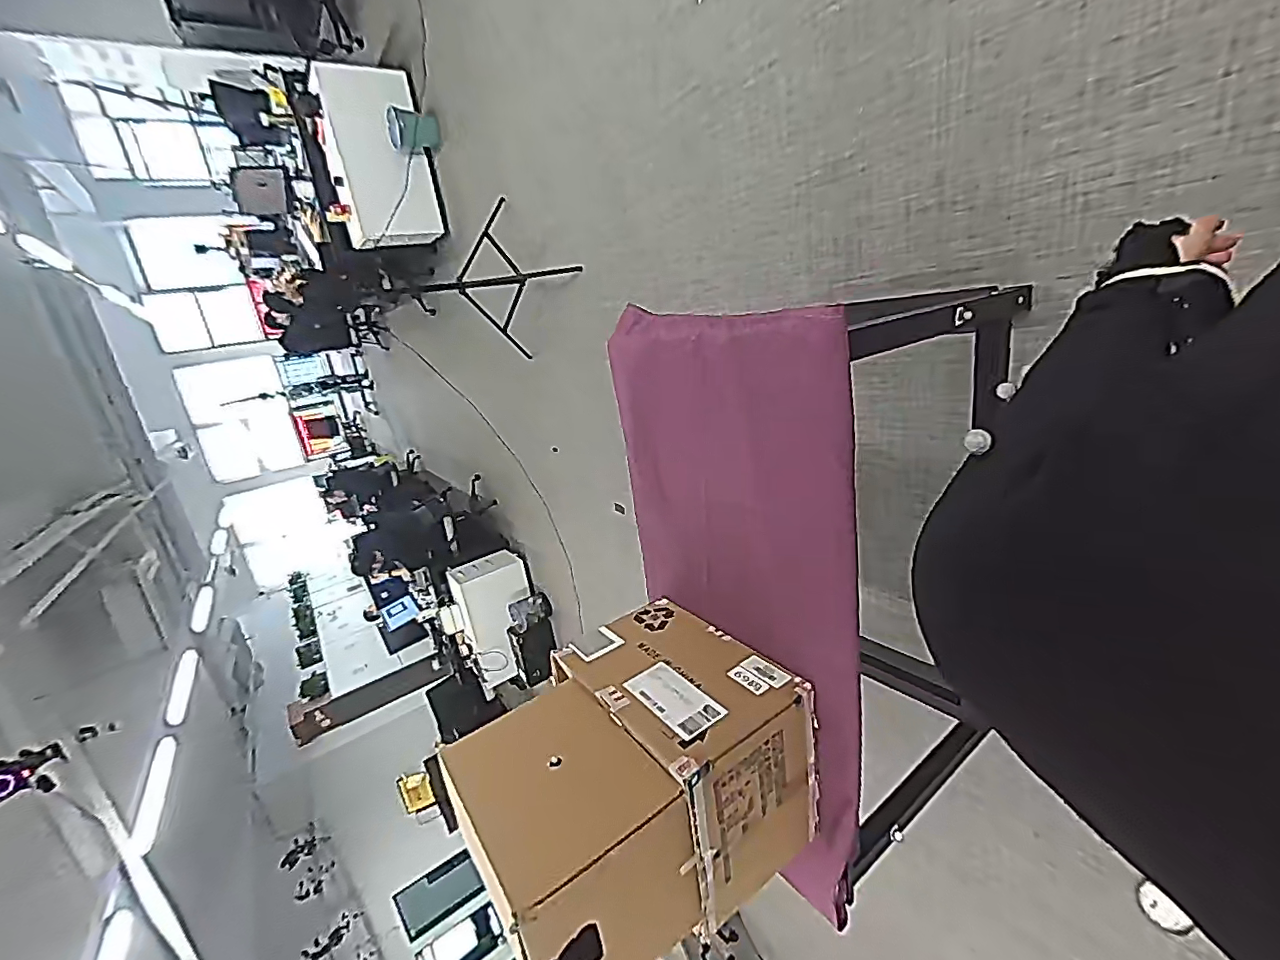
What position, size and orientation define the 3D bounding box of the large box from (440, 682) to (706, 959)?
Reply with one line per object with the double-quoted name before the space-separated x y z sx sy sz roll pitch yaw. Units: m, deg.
"large box" -0.135 0.654 1.012 0.408 0.320 0.320 15 120 54
